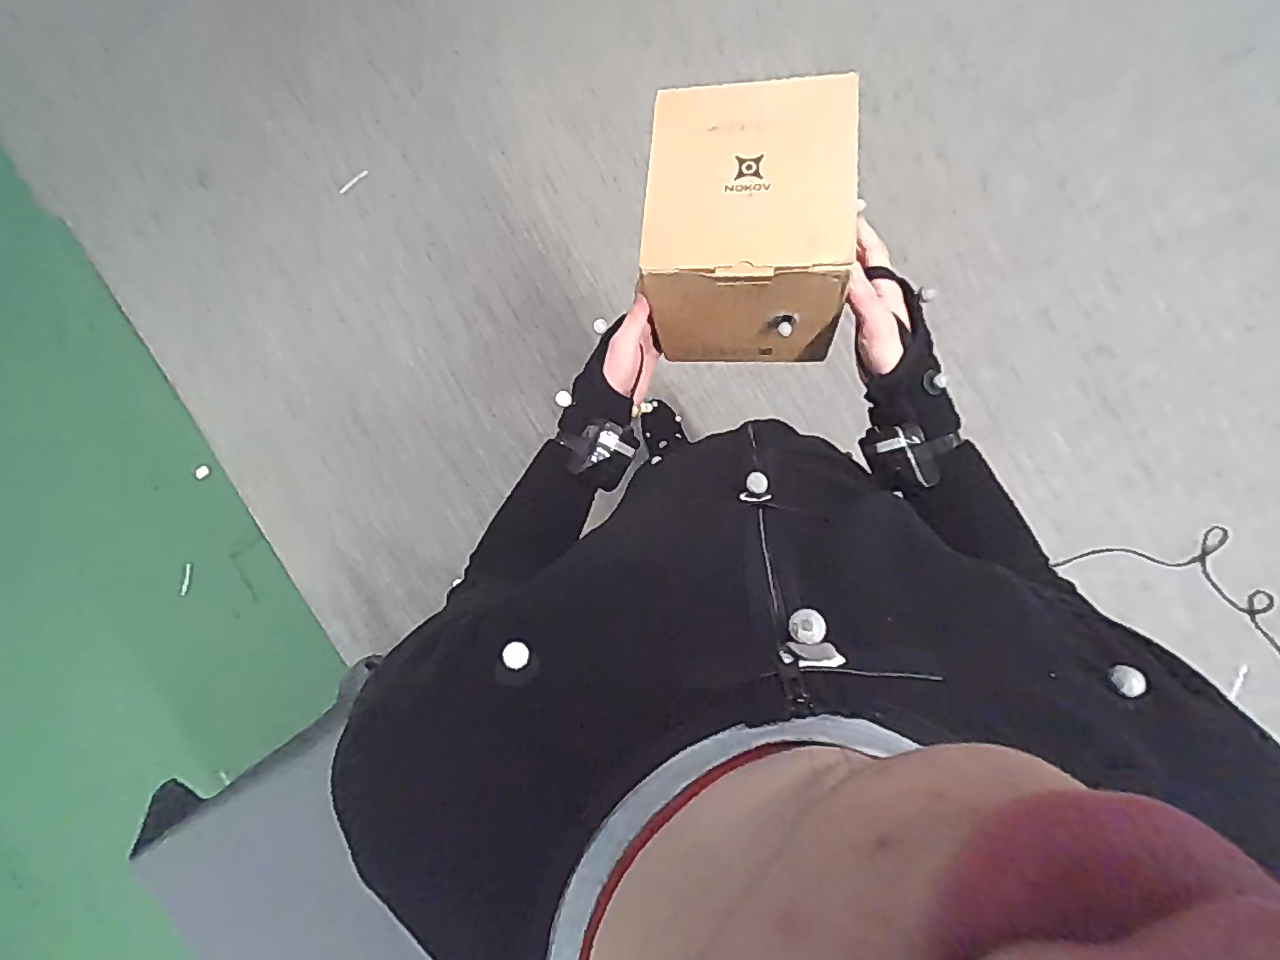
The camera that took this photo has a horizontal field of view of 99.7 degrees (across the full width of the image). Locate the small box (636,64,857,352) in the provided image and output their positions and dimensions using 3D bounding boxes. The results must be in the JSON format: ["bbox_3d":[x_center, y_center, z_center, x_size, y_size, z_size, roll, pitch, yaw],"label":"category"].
[{"bbox_3d":[0.097,-0.231,0.502,0.168,0.176,0.179,3,78,10],"label":"small box"}]
